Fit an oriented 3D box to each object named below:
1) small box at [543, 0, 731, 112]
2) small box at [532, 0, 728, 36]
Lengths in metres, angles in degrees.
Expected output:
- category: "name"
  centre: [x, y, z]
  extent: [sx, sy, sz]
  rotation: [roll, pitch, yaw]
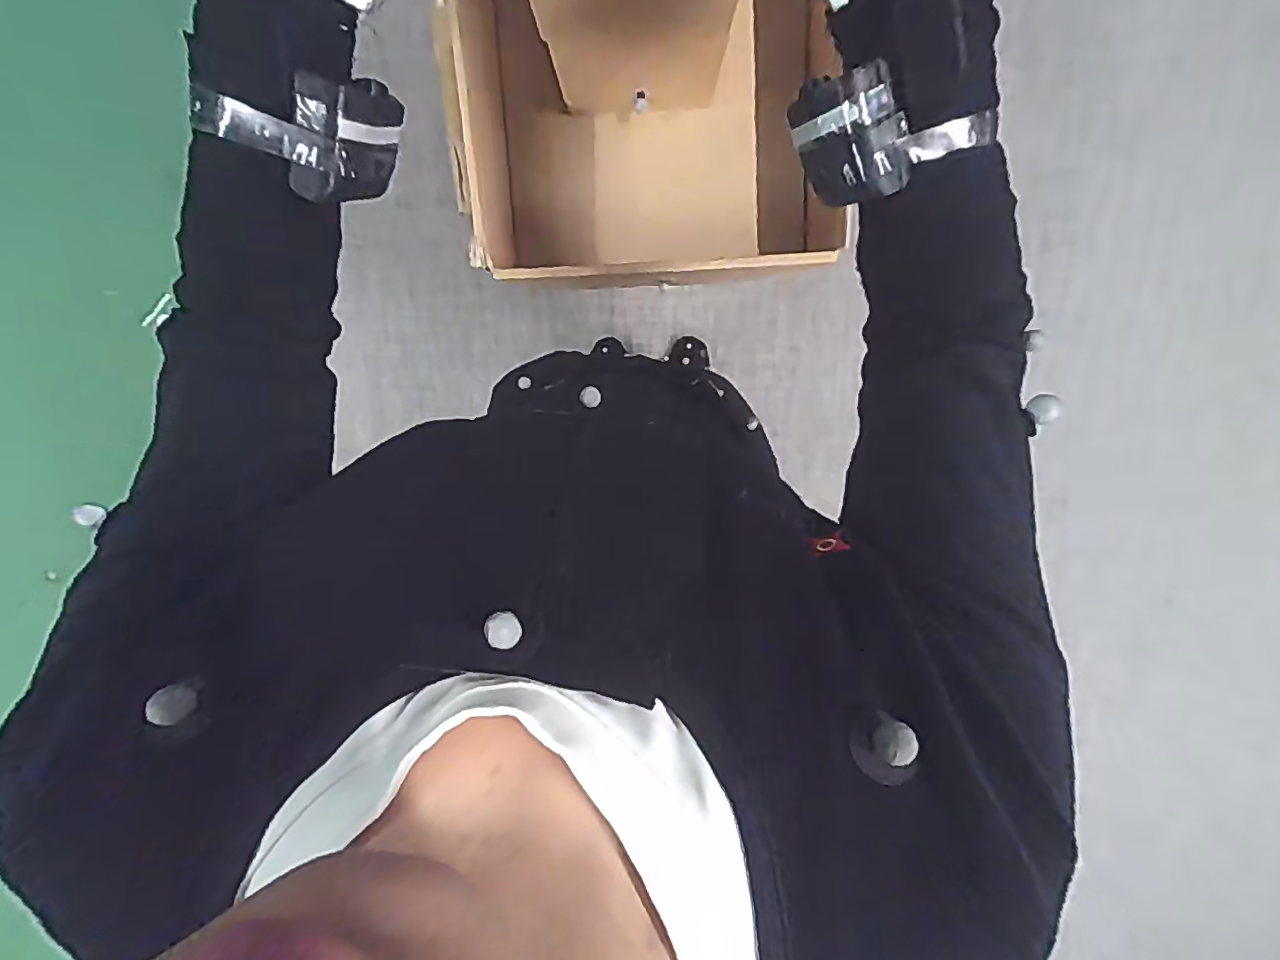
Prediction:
- category: "small box"
  centre: [-0.007, -0.510, 0.560]
  extent: [0.179, 0.176, 0.168]
  rotation: [-3, 102, 0]
- category: "small box"
  centre: [-0.007, -0.470, 0.401]
  extent: [0.179, 0.176, 0.168]
  rotation: [0, 103, 0]
